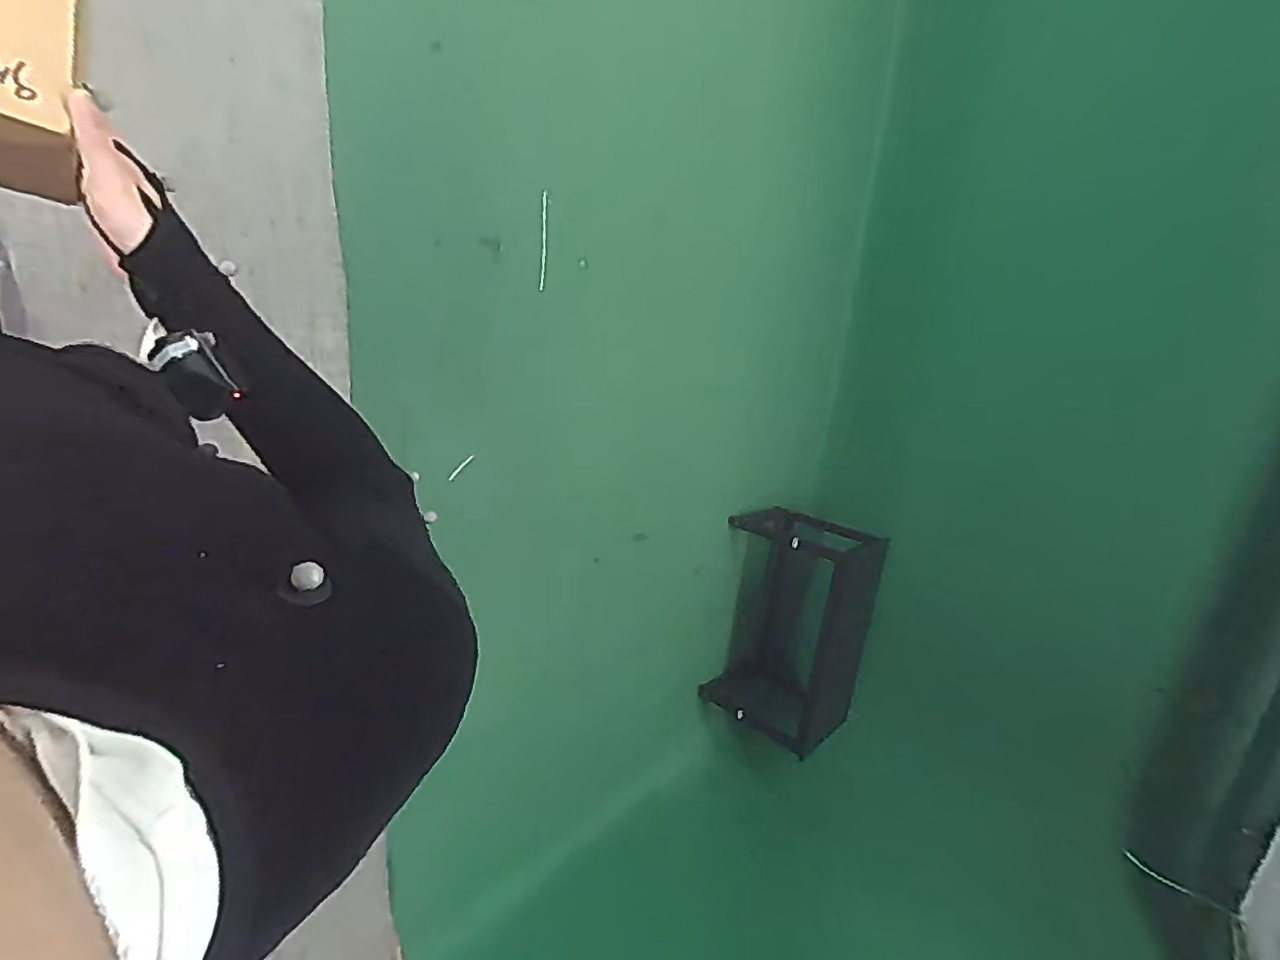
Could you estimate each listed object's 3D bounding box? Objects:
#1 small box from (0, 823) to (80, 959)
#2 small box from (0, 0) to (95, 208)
[{"bbox_3d":[-0.924,0.647,0.770,0.168,0.176,0.179,-8,111,-48],"label":"small box"},{"bbox_3d":[-0.515,-0.333,0.391,0.168,0.176,0.179,3,92,-45],"label":"small box"}]
